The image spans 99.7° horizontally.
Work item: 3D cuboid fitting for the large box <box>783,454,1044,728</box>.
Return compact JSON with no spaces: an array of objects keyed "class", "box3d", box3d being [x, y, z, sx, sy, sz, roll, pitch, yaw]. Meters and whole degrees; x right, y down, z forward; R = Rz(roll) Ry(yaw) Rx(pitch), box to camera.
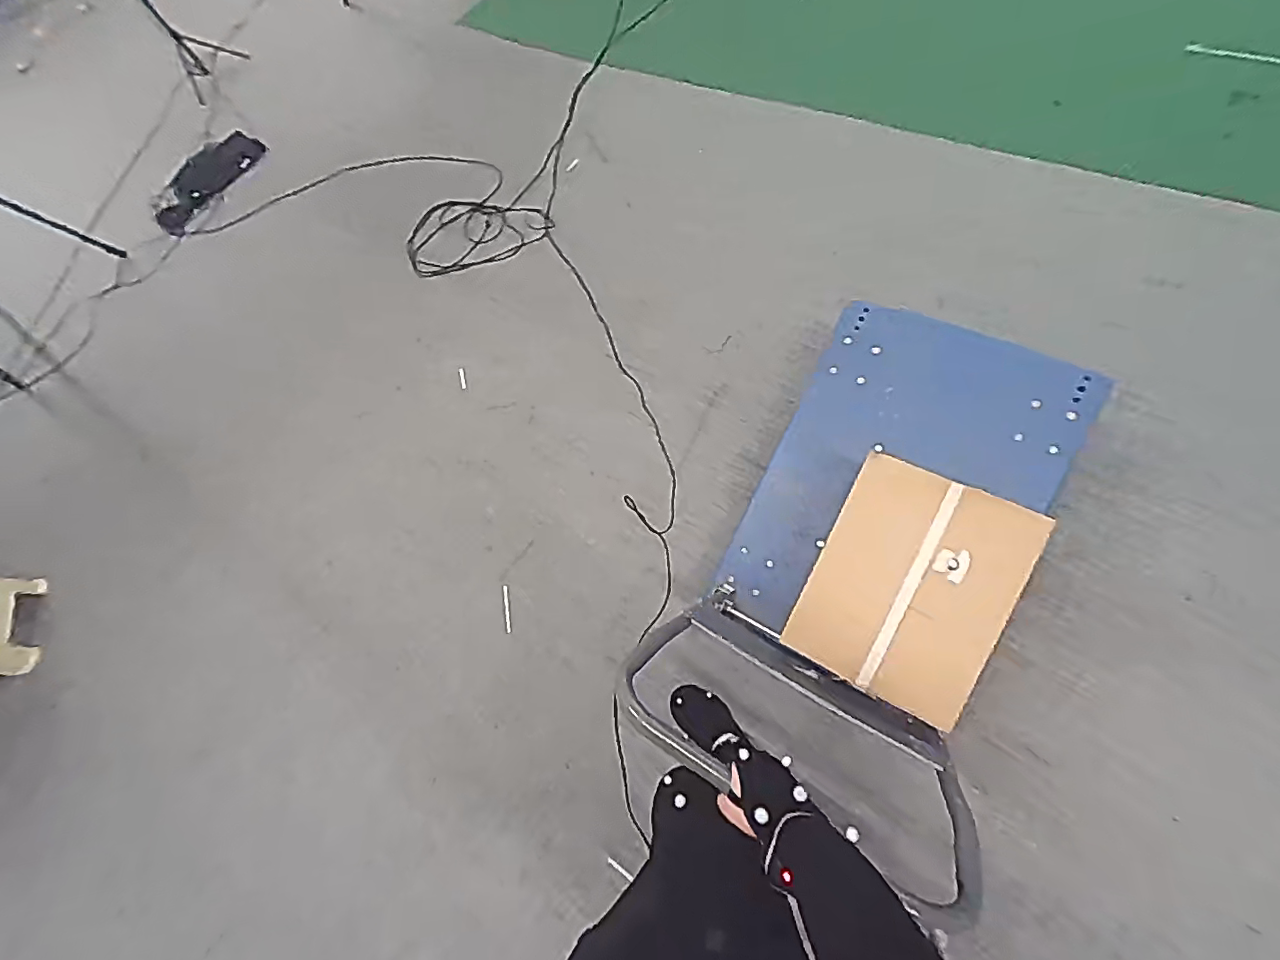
[{"class":"large box","box3d":[0.529,0.209,1.111,0.320,0.320,0.408,25,92,20]}]
